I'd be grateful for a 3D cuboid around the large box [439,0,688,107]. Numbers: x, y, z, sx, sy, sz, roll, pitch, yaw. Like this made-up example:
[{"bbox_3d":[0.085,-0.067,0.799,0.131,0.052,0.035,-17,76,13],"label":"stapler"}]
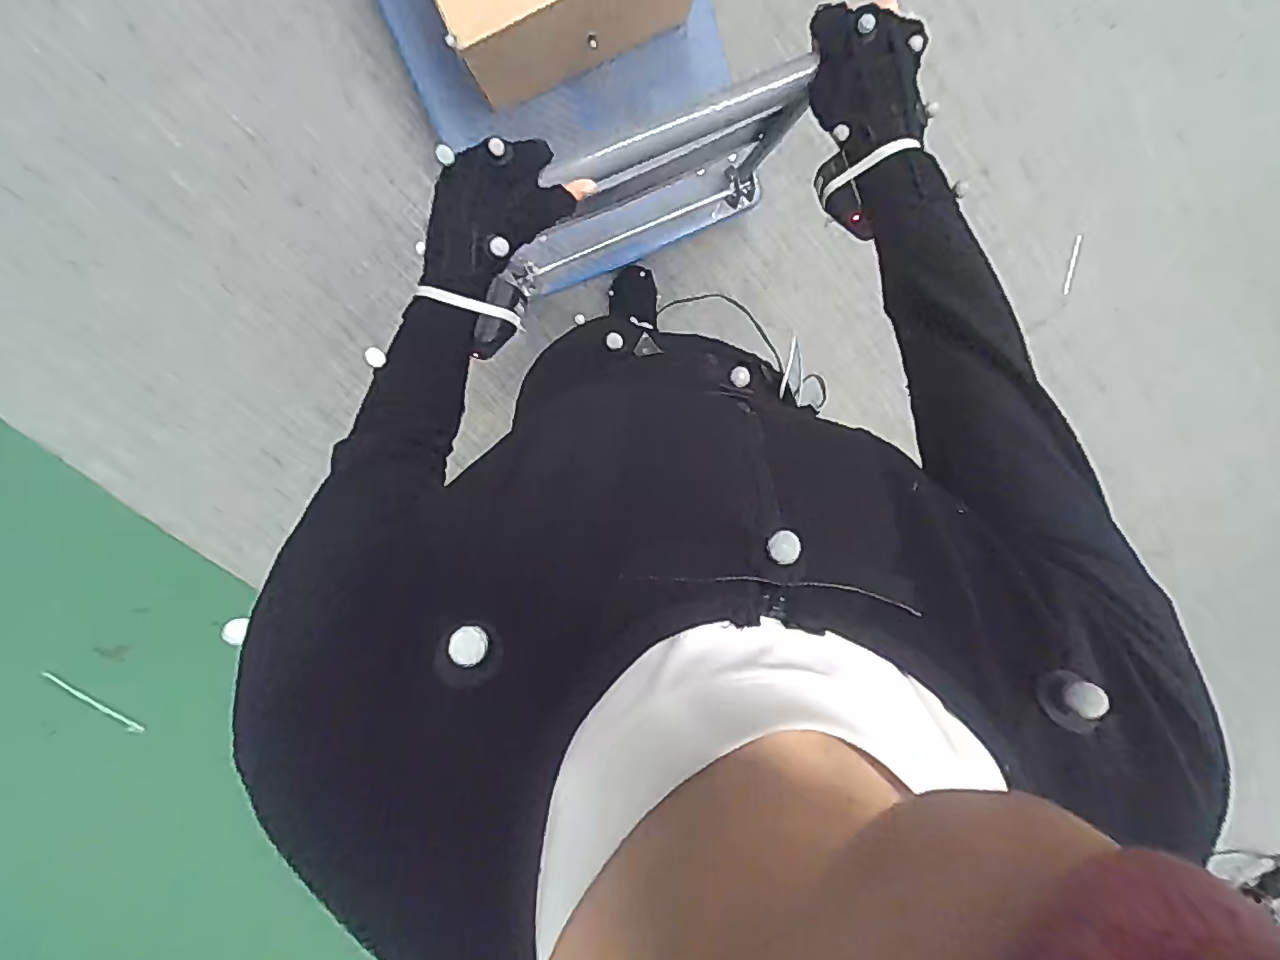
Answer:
[{"bbox_3d":[-0.143,-0.875,0.843,0.408,0.320,0.320,-24,109,5],"label":"large box"}]
